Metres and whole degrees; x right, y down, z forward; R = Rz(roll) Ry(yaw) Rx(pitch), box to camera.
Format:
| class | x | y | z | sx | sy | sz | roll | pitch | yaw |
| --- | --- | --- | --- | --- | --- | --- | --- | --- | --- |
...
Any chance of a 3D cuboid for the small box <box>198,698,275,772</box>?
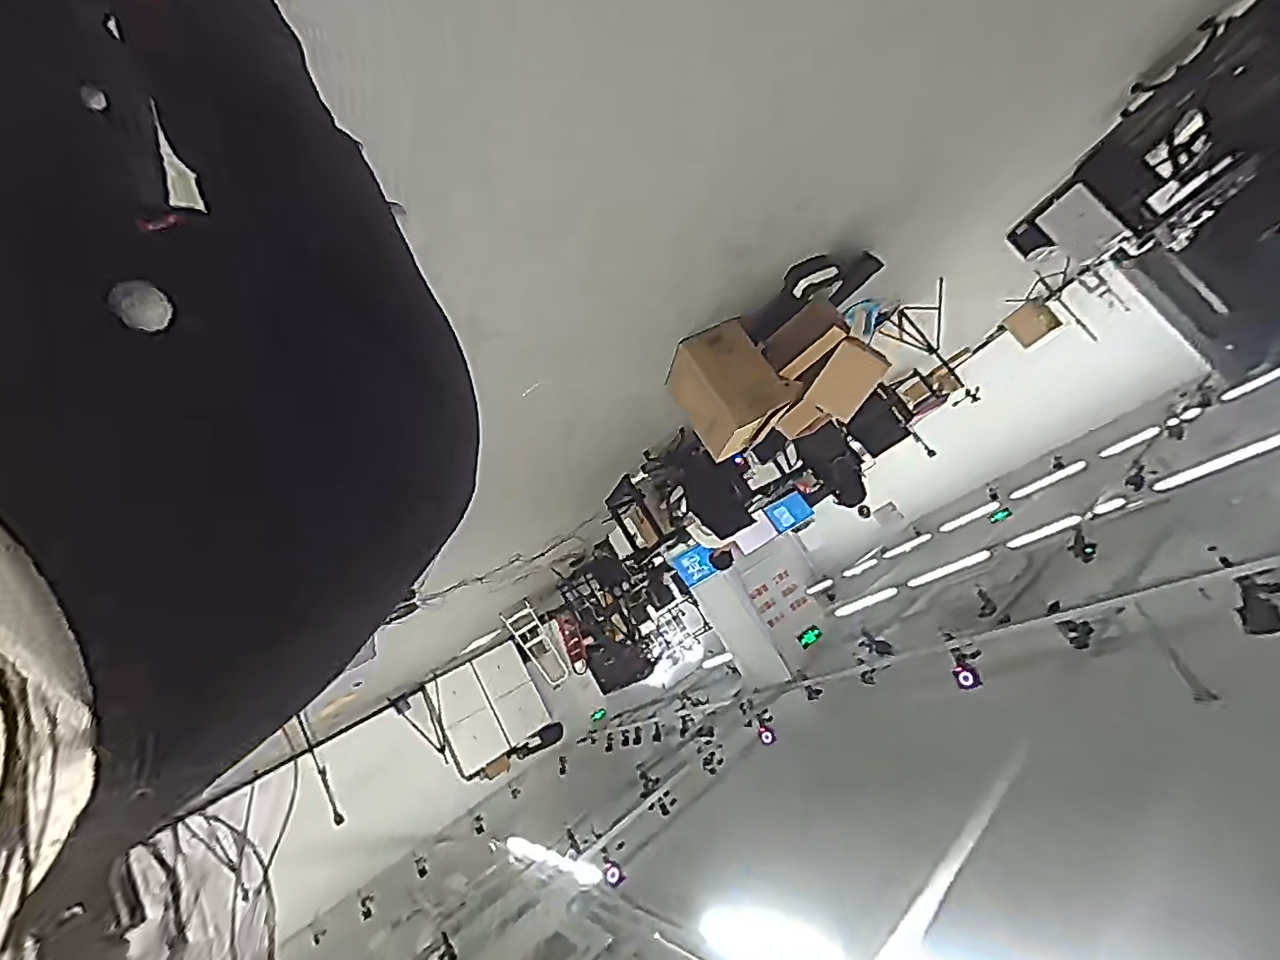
| class | x | y | z | sx | sy | sz | roll | pitch | yaw |
| --- | --- | --- | --- | --- | --- | --- | --- | --- | --- |
| small box | -1.446 | 0.913 | 1.935 | 0.179 | 0.176 | 0.168 | -24 | 165 | -33 |
